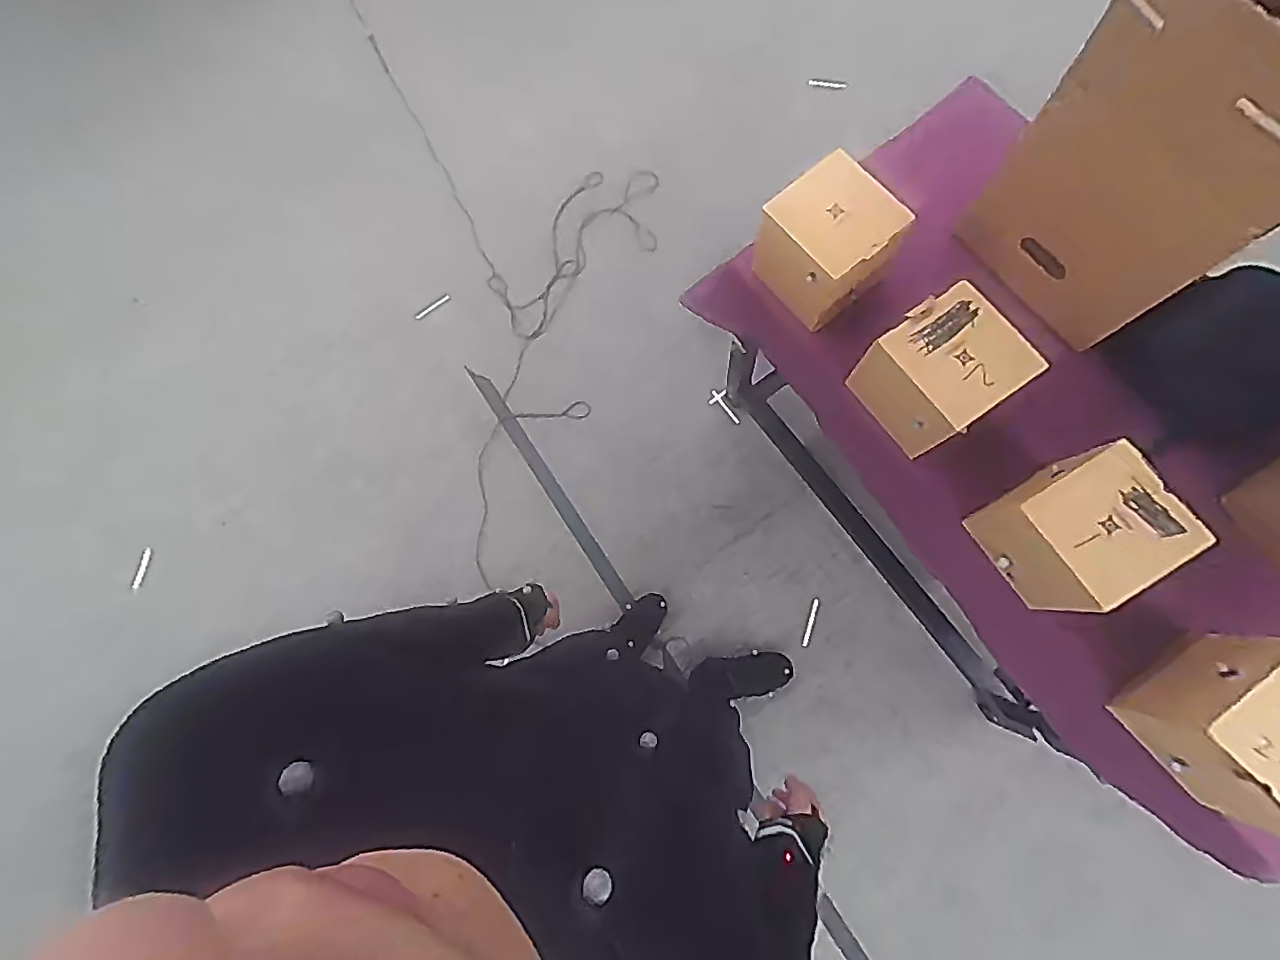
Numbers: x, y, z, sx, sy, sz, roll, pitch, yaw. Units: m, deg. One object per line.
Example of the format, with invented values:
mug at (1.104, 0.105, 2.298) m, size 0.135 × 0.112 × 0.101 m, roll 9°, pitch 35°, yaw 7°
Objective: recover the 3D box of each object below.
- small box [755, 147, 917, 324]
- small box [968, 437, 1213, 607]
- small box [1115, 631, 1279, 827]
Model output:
small box at (0.316, -0.403, 0.919) m, size 0.168 × 0.176 × 0.179 m, roll -38°, pitch 78°, yaw -3°
small box at (0.632, 0.066, 0.787) m, size 0.179 × 0.176 × 0.168 m, roll -32°, pitch 77°, yaw -1°
small box at (0.804, 0.318, 0.715) m, size 0.179 × 0.176 × 0.168 m, roll -38°, pitch 76°, yaw -2°
